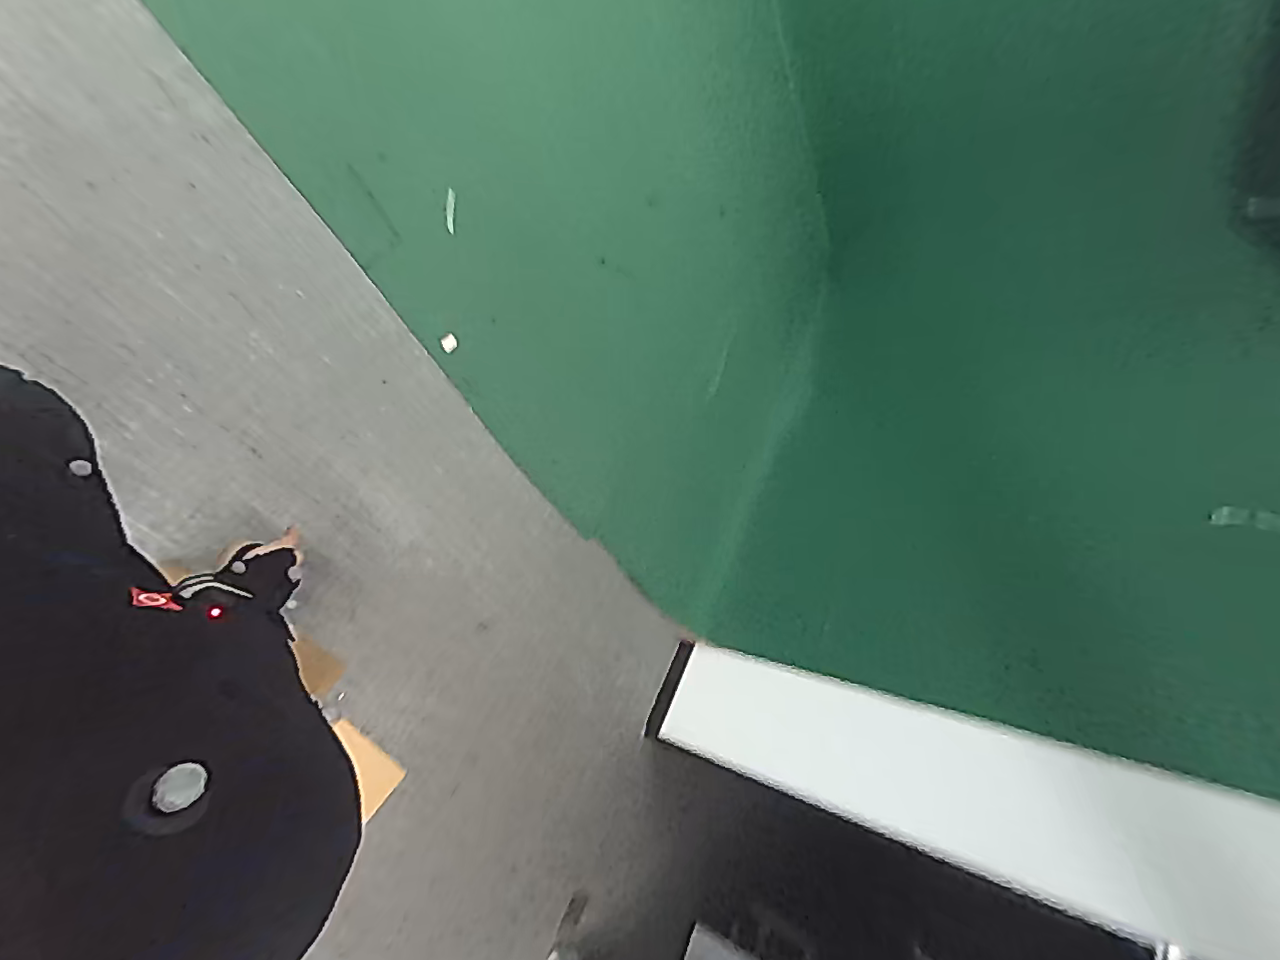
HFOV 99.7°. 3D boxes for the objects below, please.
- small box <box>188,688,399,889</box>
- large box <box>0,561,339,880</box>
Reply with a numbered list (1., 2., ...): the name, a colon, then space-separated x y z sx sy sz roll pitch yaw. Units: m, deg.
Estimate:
1. small box: -0.510 0.443 0.802 0.179 0.176 0.168 -50 132 -36
2. large box: -0.872 0.415 0.995 0.408 0.320 0.320 -60 136 -28
